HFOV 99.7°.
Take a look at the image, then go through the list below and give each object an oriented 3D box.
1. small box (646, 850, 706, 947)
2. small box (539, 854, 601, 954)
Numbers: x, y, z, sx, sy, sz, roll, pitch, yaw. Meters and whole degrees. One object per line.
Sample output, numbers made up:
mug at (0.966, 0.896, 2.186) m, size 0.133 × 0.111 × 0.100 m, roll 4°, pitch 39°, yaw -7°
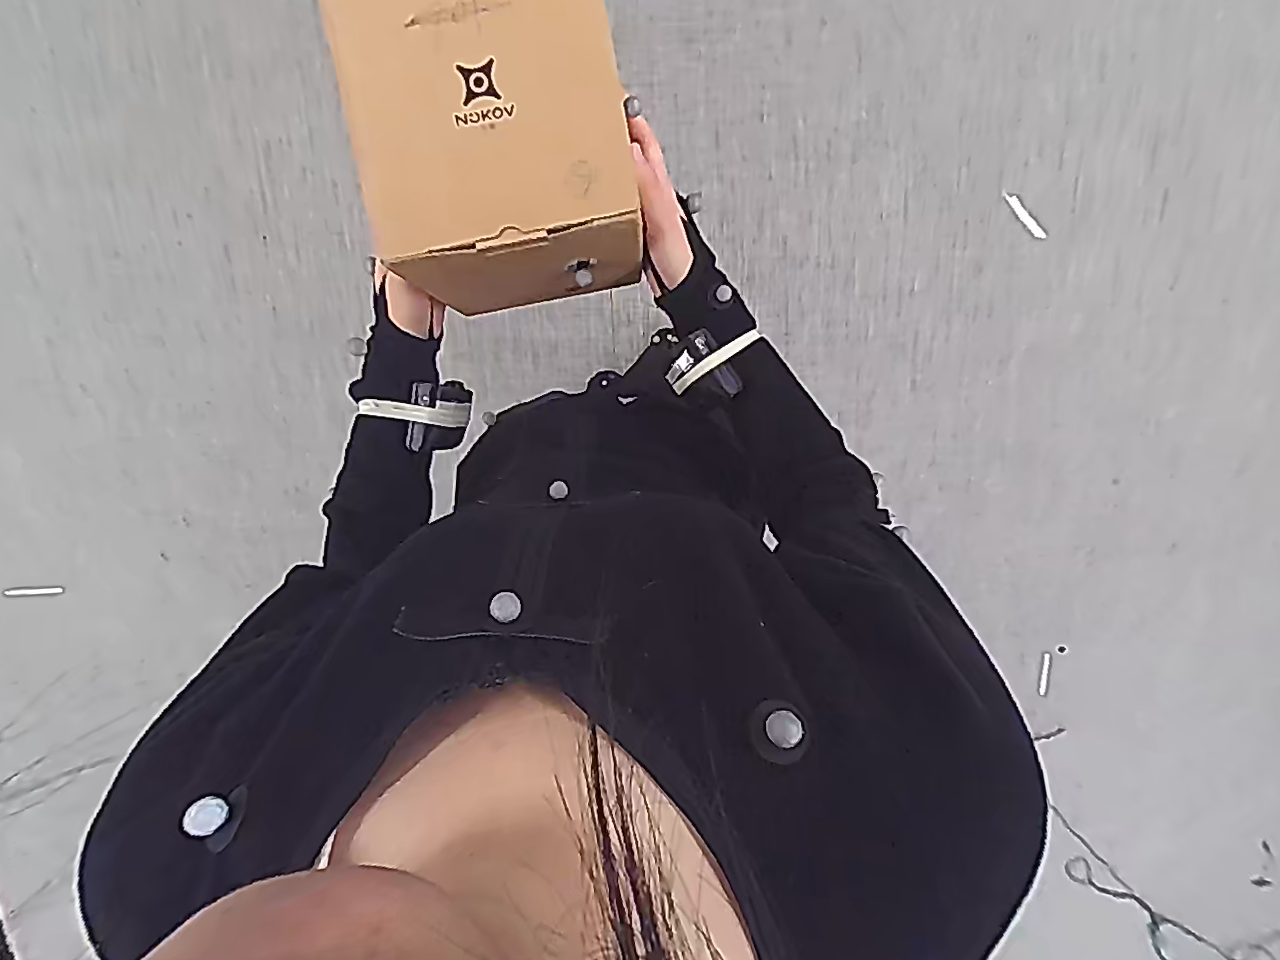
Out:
small box at (0.108, 1.285, 1.666) m, size 0.168 × 0.176 × 0.179 m, roll -1°, pitch 103°, yaw -2°
small box at (-0.209, 1.292, 1.654) m, size 0.168 × 0.176 × 0.179 m, roll -3°, pitch 101°, yaw -2°
